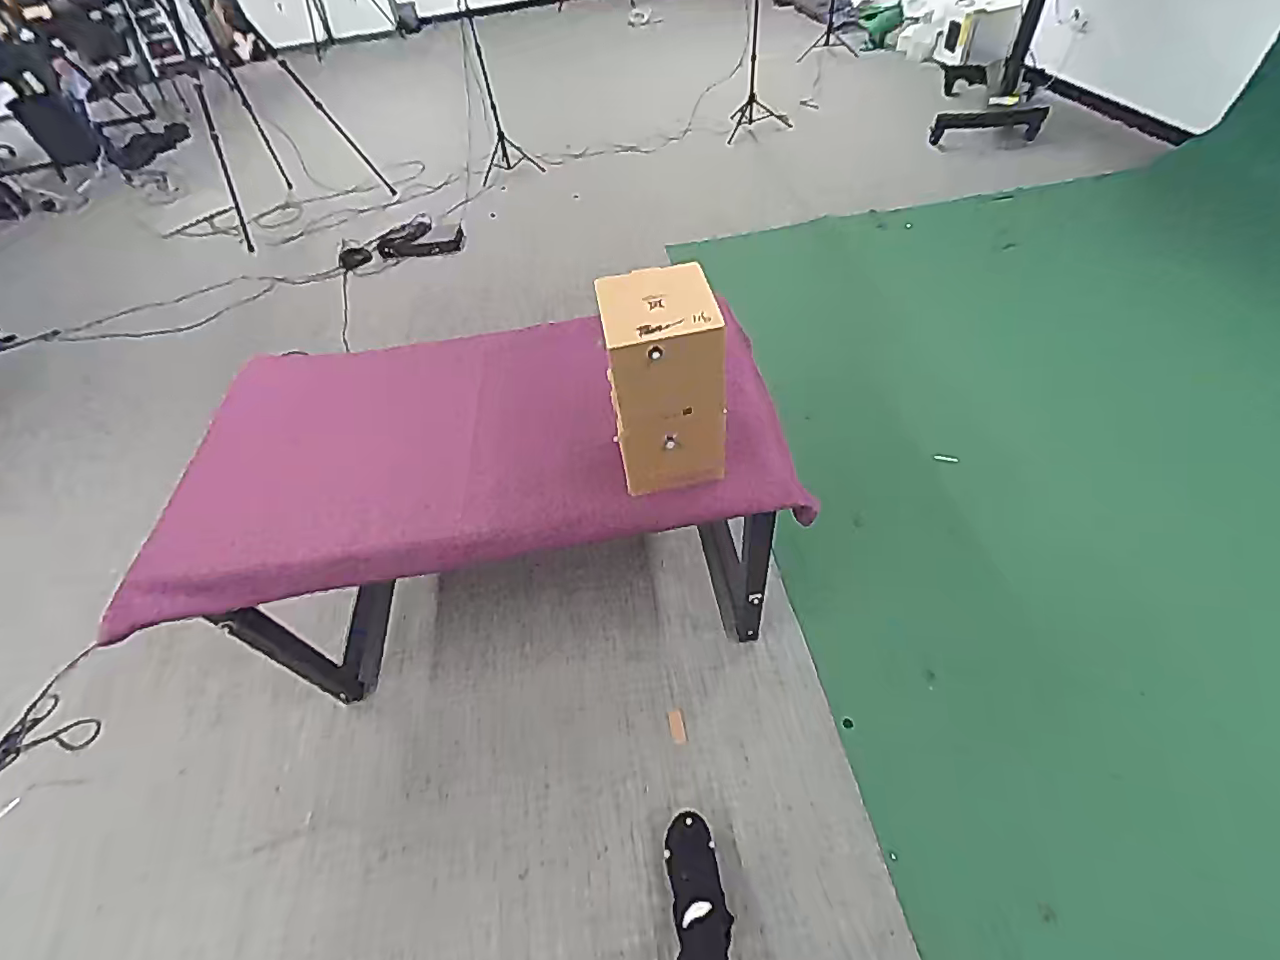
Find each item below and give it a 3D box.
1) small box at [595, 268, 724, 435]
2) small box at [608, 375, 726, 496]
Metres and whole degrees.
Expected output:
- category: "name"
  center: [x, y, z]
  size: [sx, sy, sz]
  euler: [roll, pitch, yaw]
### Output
- category: "small box"
  center: [0.031, -0.198, 0.844]
  size: [0.168, 0.176, 0.179]
  euler: [-12, 50, 1]
- category: "small box"
  center: [0.049, -0.094, 0.969]
  size: [0.179, 0.176, 0.168]
  euler: [-13, 51, 0]
